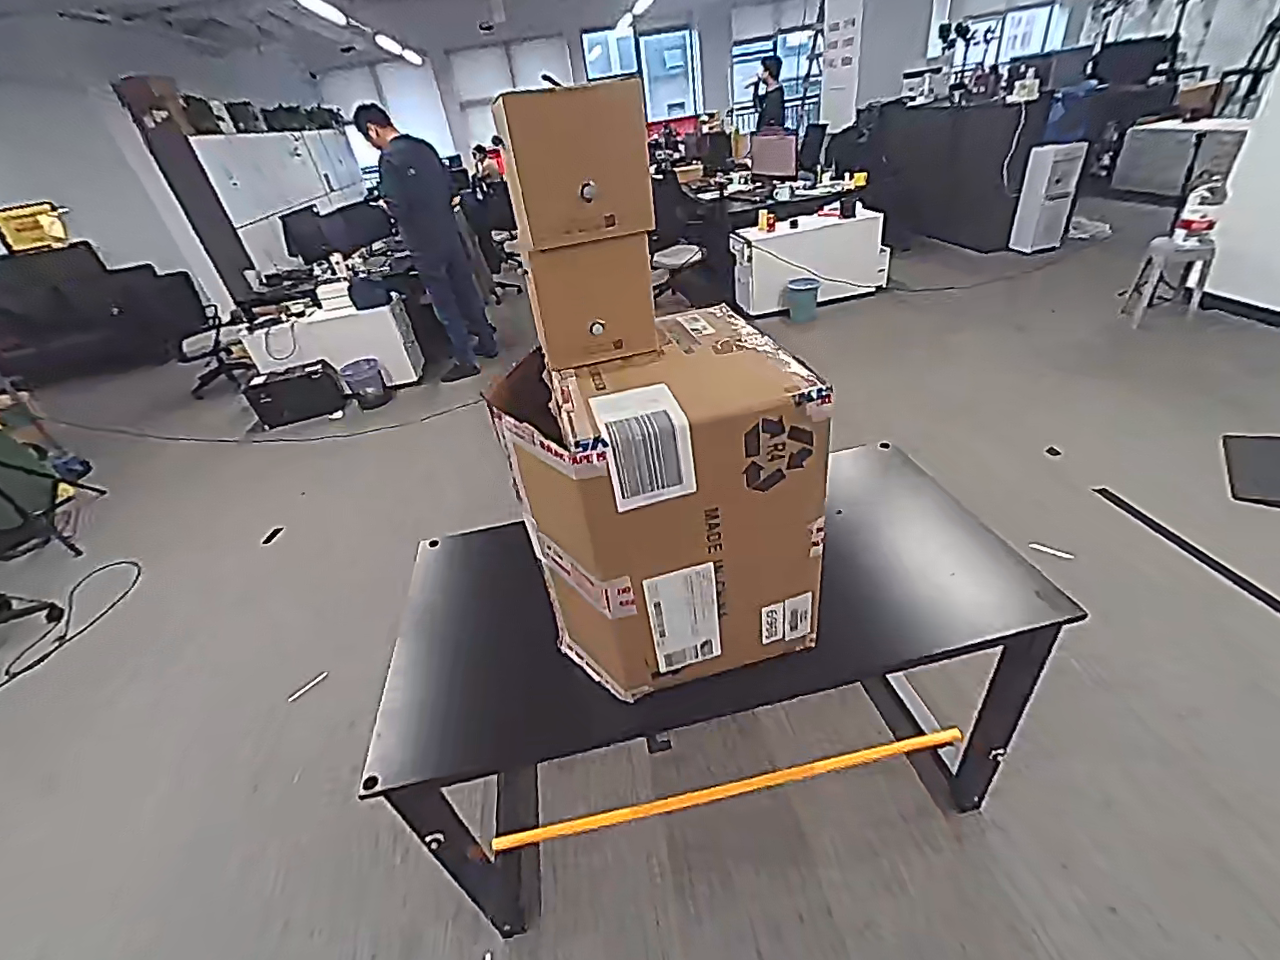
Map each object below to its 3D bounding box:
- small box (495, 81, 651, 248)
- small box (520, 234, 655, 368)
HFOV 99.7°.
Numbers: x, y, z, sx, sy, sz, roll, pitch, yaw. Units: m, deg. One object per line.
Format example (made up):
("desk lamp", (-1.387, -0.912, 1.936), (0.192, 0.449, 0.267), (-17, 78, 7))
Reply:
("small box", (-0.092, -0.421, 0.736), (0.168, 0.176, 0.179), (-15, 33, -10))
("small box", (-0.081, -0.286, 0.830), (0.168, 0.176, 0.179), (-14, 33, -9))
